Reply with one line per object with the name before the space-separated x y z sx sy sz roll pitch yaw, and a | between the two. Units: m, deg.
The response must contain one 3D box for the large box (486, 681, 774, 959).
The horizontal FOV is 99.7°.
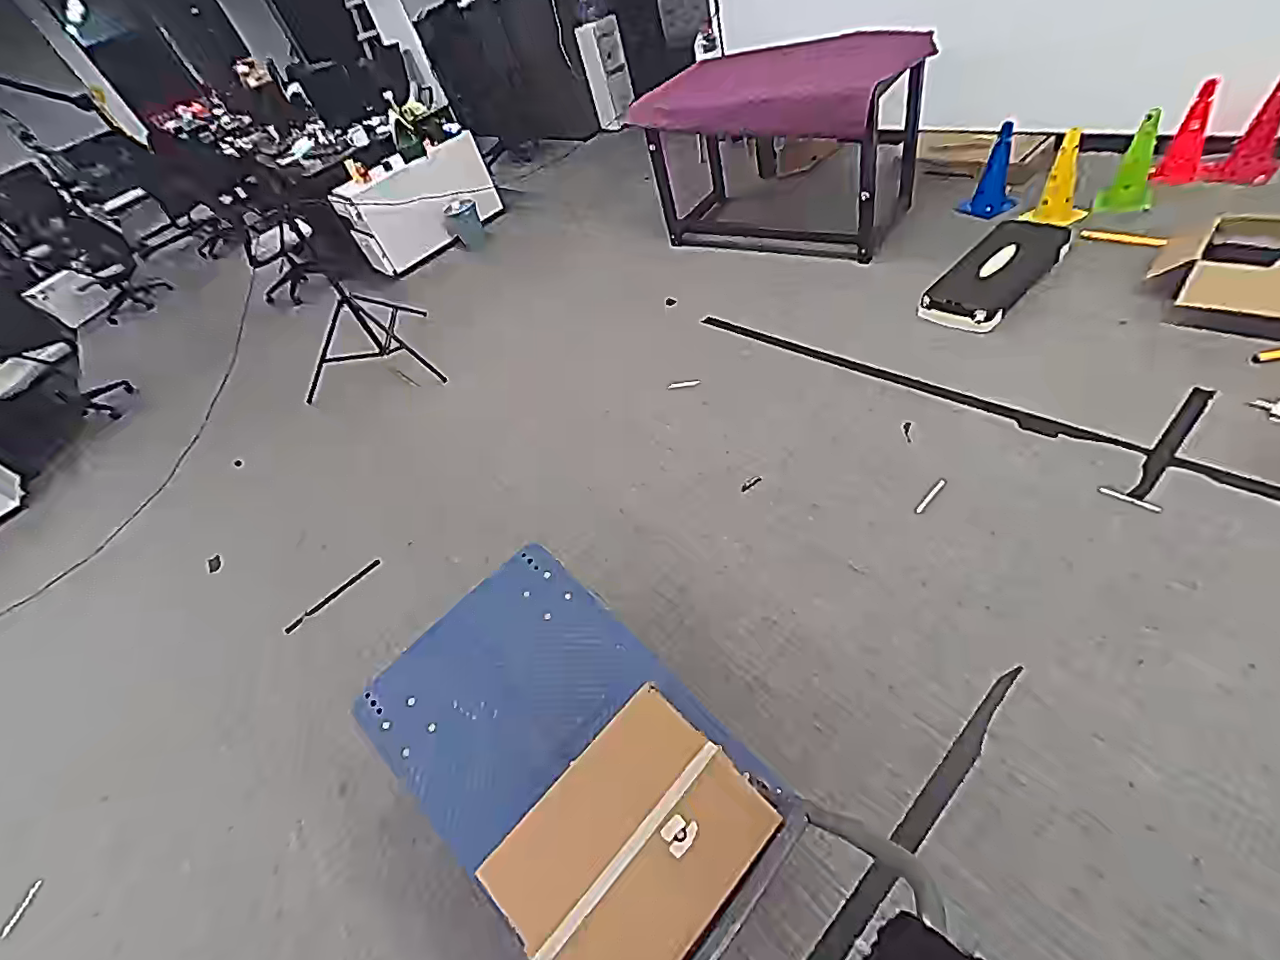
large box | -0.012 0.666 1.027 0.320 0.320 0.408 40 68 18
